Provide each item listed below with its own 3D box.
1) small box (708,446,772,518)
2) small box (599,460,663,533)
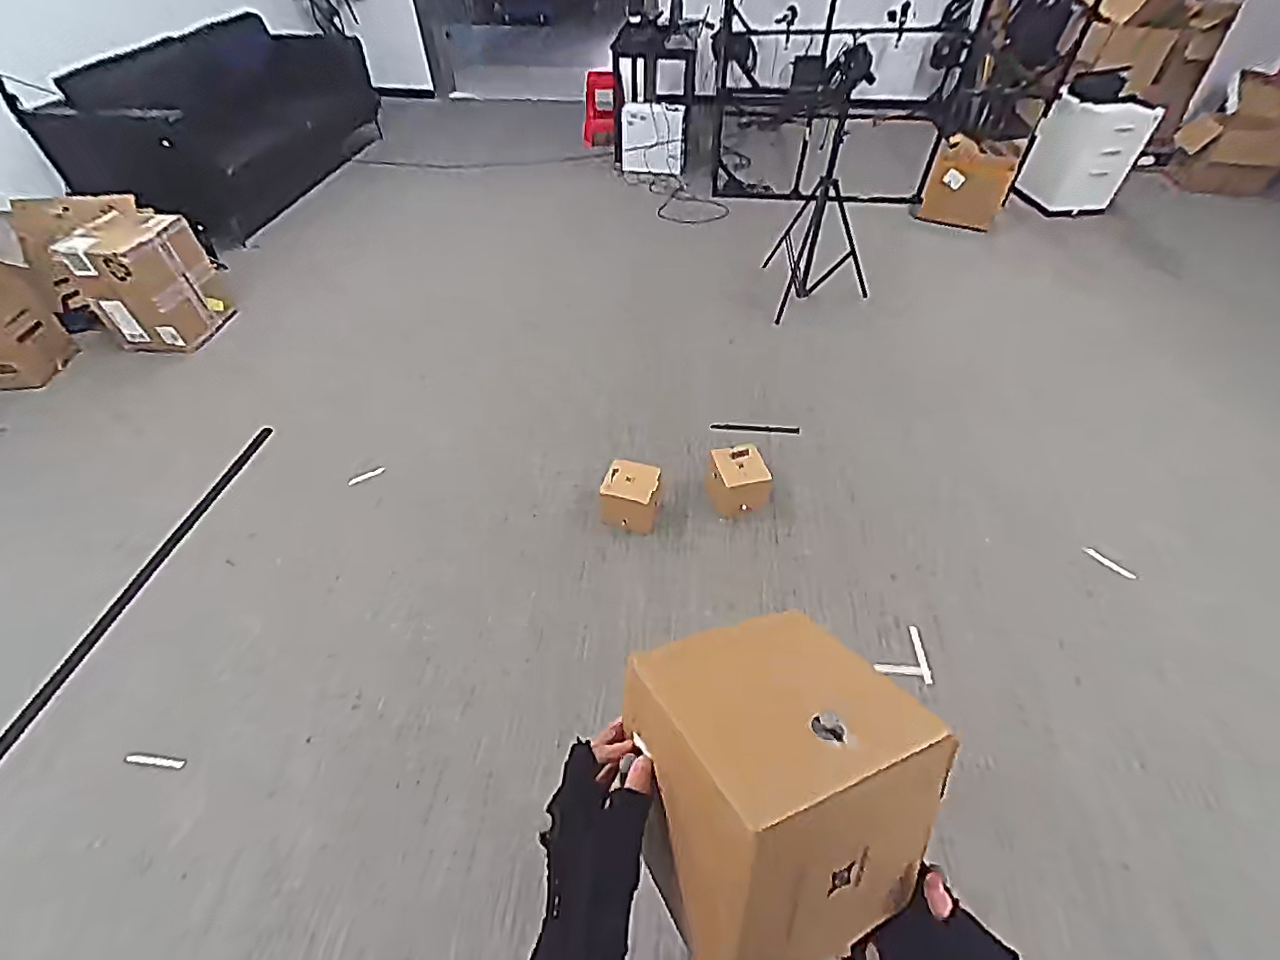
[{"bbox_3d":[0.347,0.008,1.915,0.168,0.176,0.179,-10,49,-8],"label":"small box"},{"bbox_3d":[-0.028,0.062,1.872,0.179,0.176,0.168,14,49,13],"label":"small box"}]
